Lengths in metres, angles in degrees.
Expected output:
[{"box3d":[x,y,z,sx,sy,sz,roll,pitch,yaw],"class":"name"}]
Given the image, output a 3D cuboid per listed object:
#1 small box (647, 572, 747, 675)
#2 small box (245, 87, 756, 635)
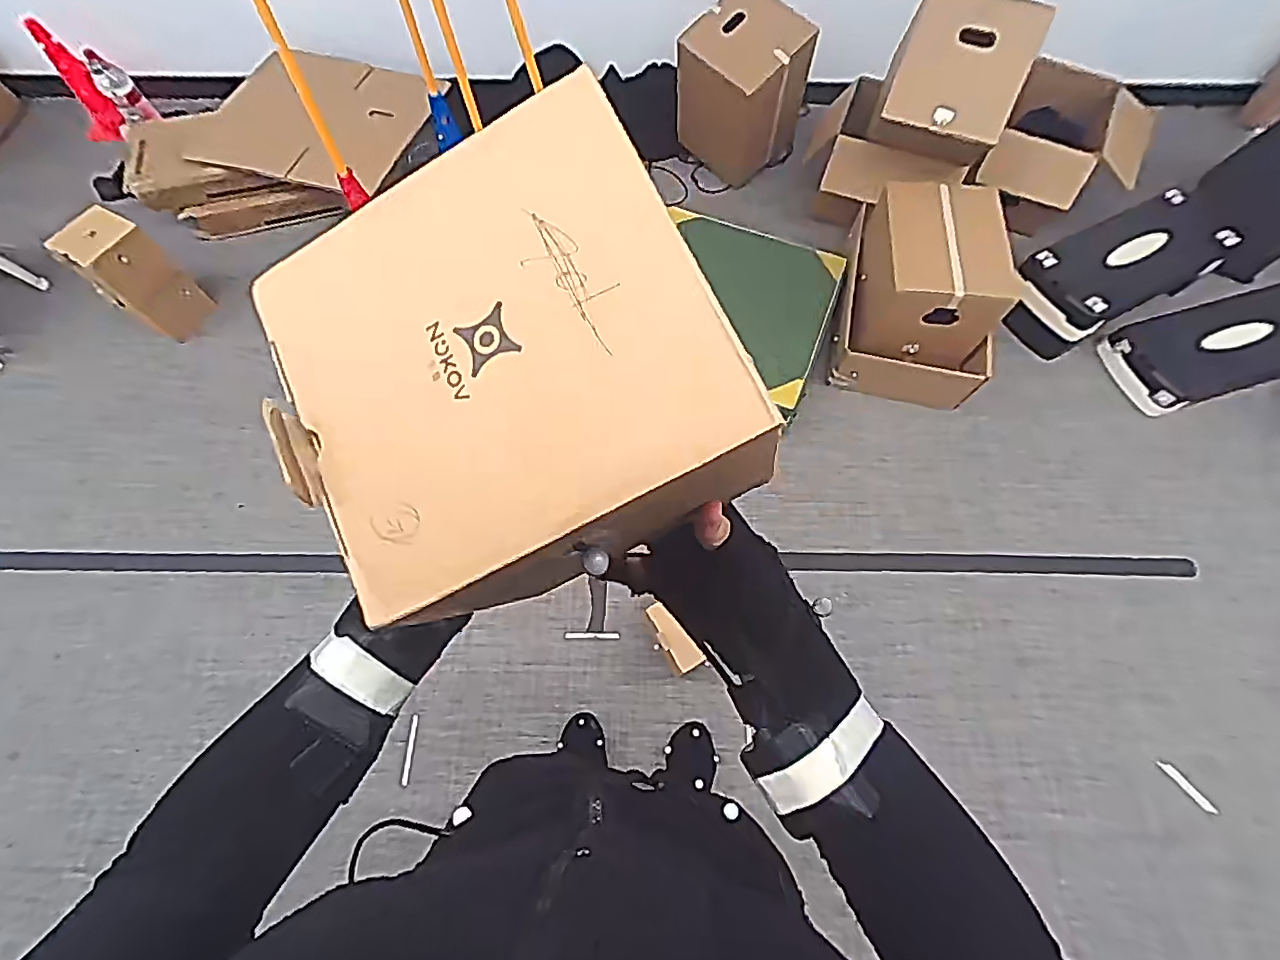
[{"box3d":[0.132,0.354,1.310,0.179,0.176,0.168,-29,70,-13],"class":"small box"},{"box3d":[-0.050,-0.038,0.289,0.179,0.176,0.168,-27,79,9],"class":"small box"}]
